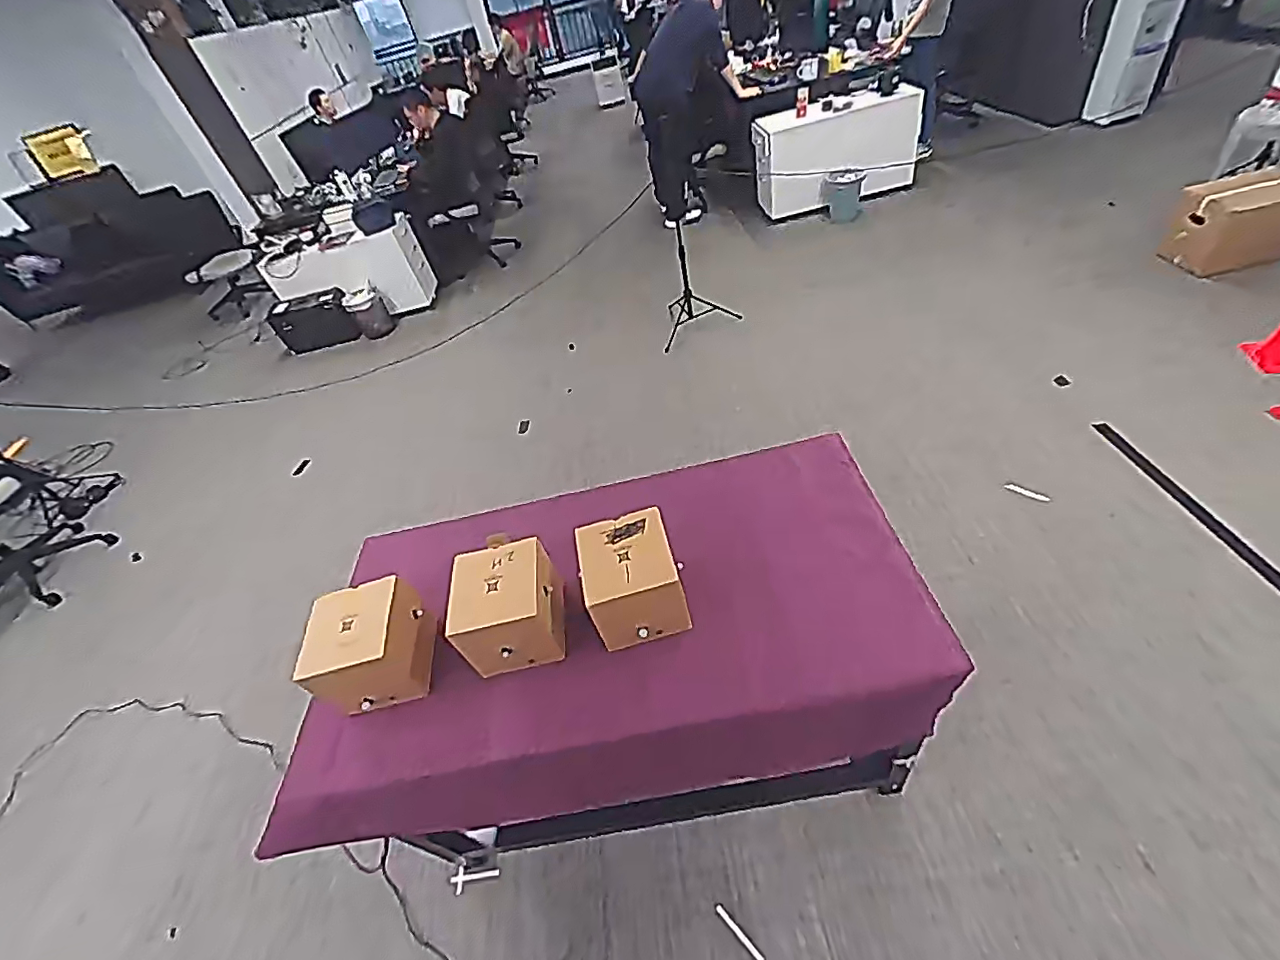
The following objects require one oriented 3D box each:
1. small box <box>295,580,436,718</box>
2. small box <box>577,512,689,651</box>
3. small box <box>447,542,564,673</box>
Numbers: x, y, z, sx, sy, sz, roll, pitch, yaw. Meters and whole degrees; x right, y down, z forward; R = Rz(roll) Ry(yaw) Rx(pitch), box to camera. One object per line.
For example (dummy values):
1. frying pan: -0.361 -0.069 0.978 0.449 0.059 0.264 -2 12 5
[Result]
1. small box: -0.511 0.326 1.041 0.168 0.176 0.179 -15 44 1
2. small box: -0.013 0.194 1.028 0.168 0.176 0.179 -16 44 0
3. small box: -0.247 0.251 1.038 0.168 0.176 0.179 -14 44 3
